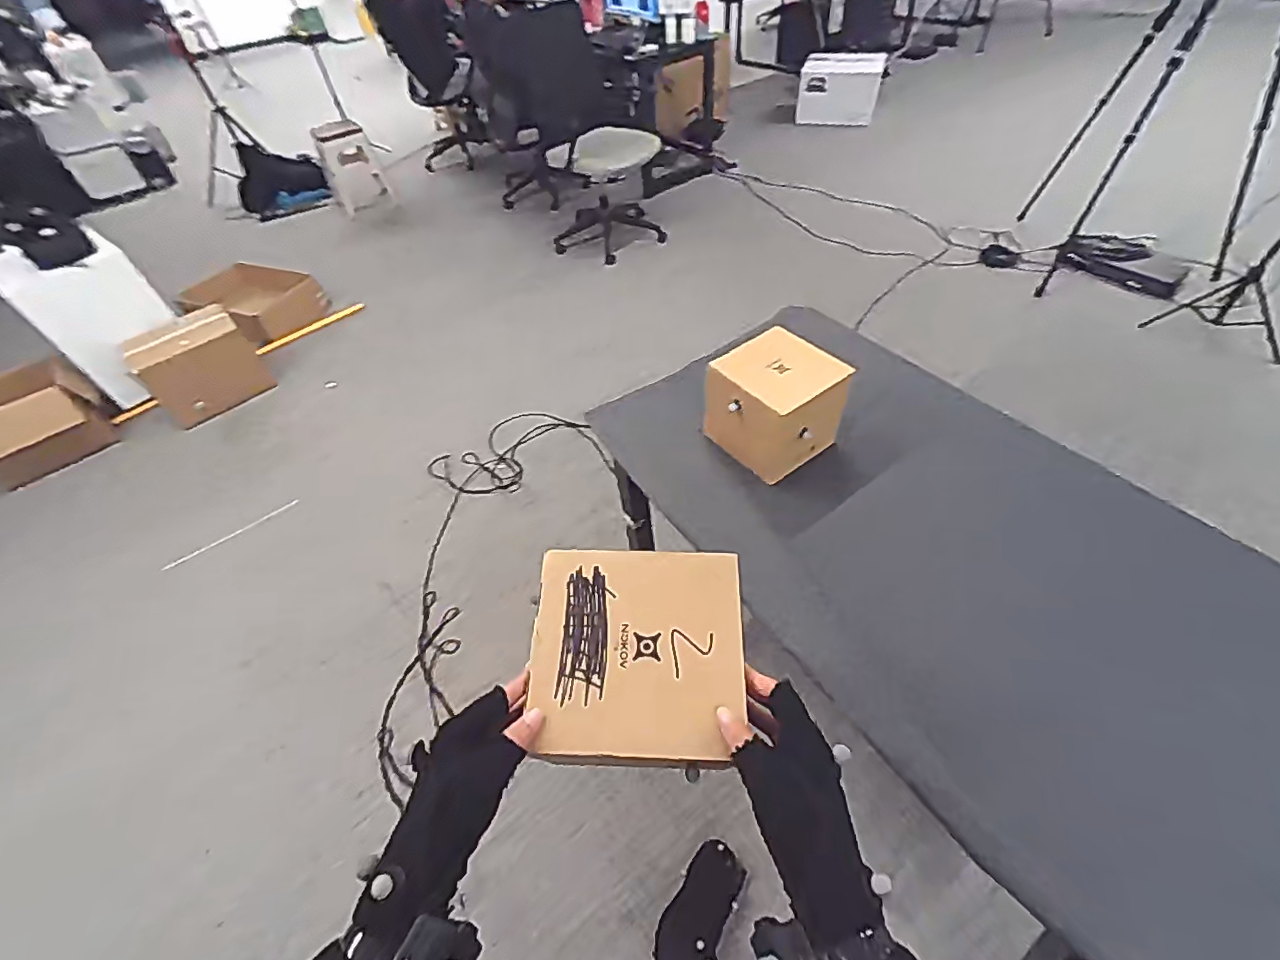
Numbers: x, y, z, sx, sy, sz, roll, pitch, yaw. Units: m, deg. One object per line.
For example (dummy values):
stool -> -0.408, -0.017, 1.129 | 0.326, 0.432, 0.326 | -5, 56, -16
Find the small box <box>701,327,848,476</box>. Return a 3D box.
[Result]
small box -> 0.225, -0.129, 0.938 | 0.168, 0.176, 0.179 | -32, 53, -20
